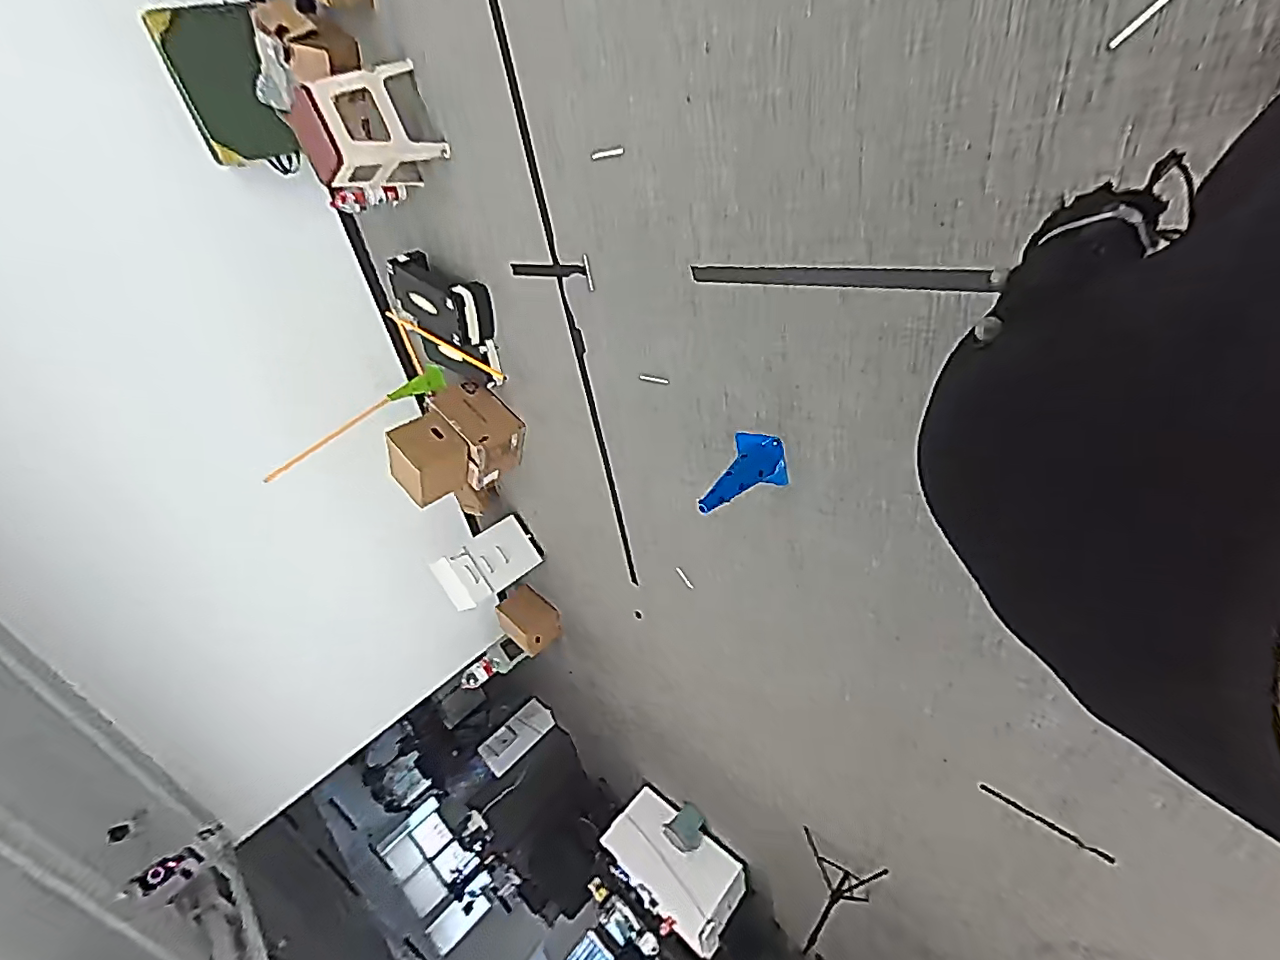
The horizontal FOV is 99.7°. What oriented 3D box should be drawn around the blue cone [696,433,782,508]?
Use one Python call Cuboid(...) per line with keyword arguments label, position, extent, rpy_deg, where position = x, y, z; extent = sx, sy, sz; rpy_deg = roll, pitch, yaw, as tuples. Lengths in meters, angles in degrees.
Cuboid(label="blue cone", position=(0.326, -0.003, 1.896), extent=(0.193, 0.380, 0.192), rpy_deg=(15, 129, 44))
